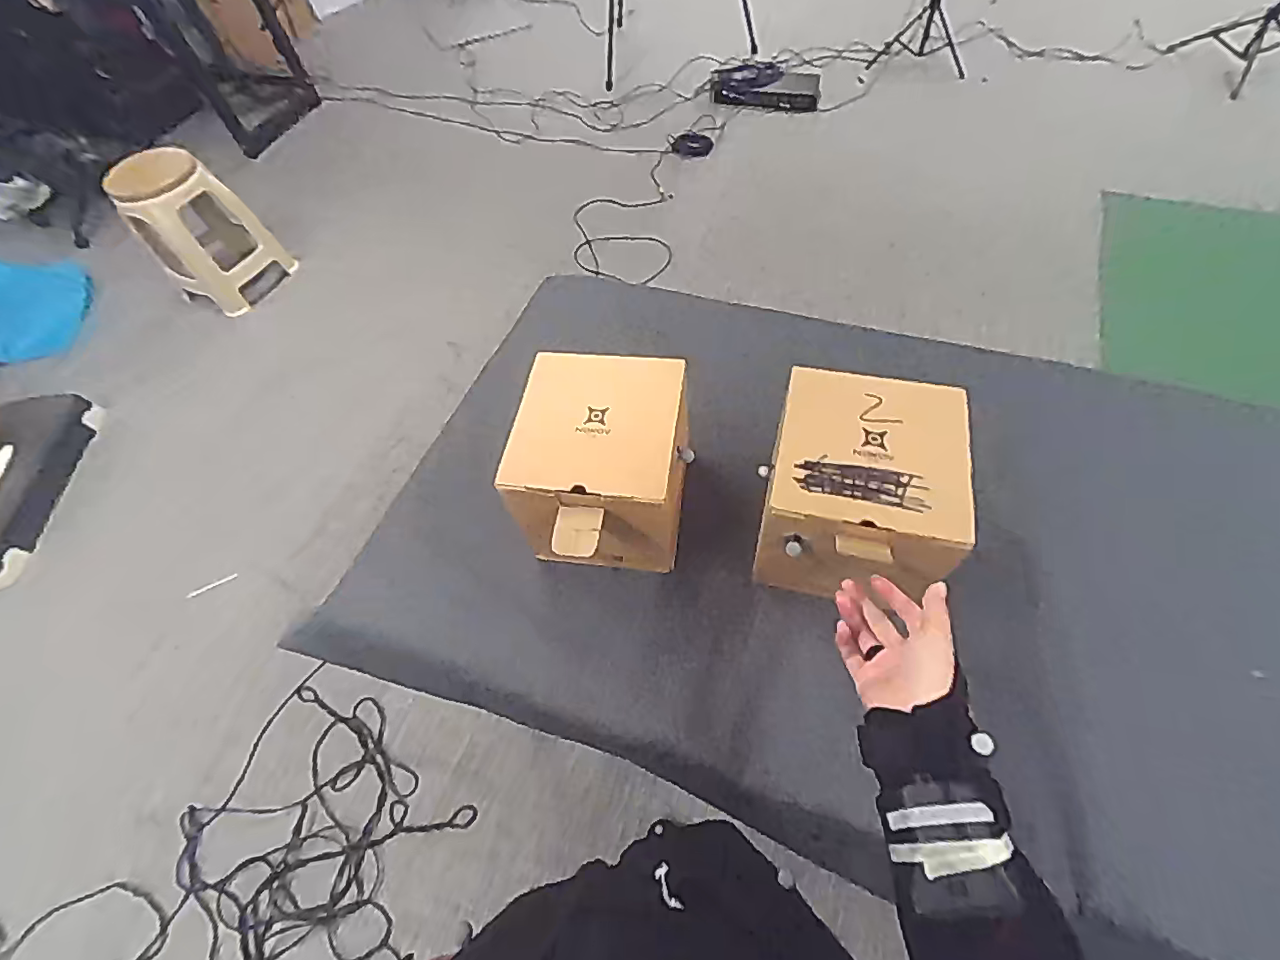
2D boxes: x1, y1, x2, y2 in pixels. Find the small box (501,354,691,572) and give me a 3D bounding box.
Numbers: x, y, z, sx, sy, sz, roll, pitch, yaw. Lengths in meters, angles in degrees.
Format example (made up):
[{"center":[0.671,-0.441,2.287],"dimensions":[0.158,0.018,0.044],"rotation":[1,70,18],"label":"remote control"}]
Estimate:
[{"center":[-0.034,-0.016,0.608],"dimensions":[0.168,0.176,0.179],"rotation":[5,59,8],"label":"small box"}]
